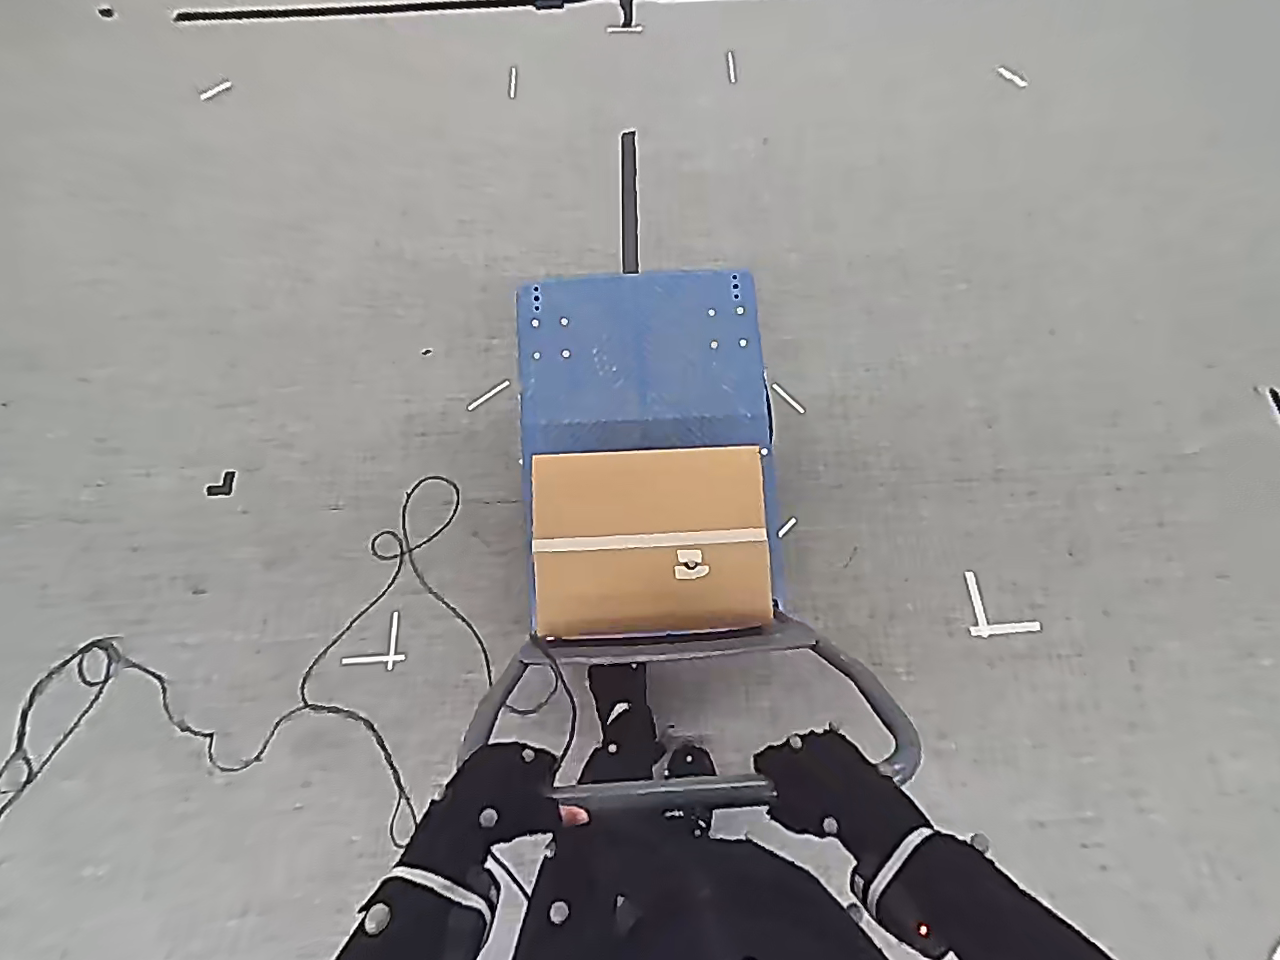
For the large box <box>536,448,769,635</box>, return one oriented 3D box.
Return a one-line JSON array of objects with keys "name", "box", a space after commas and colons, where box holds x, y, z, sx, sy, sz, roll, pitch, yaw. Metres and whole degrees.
[{"name": "large box", "box": [0.015, 0.123, 1.103, 0.408, 0.320, 0.320, -3, 84, -2]}]
